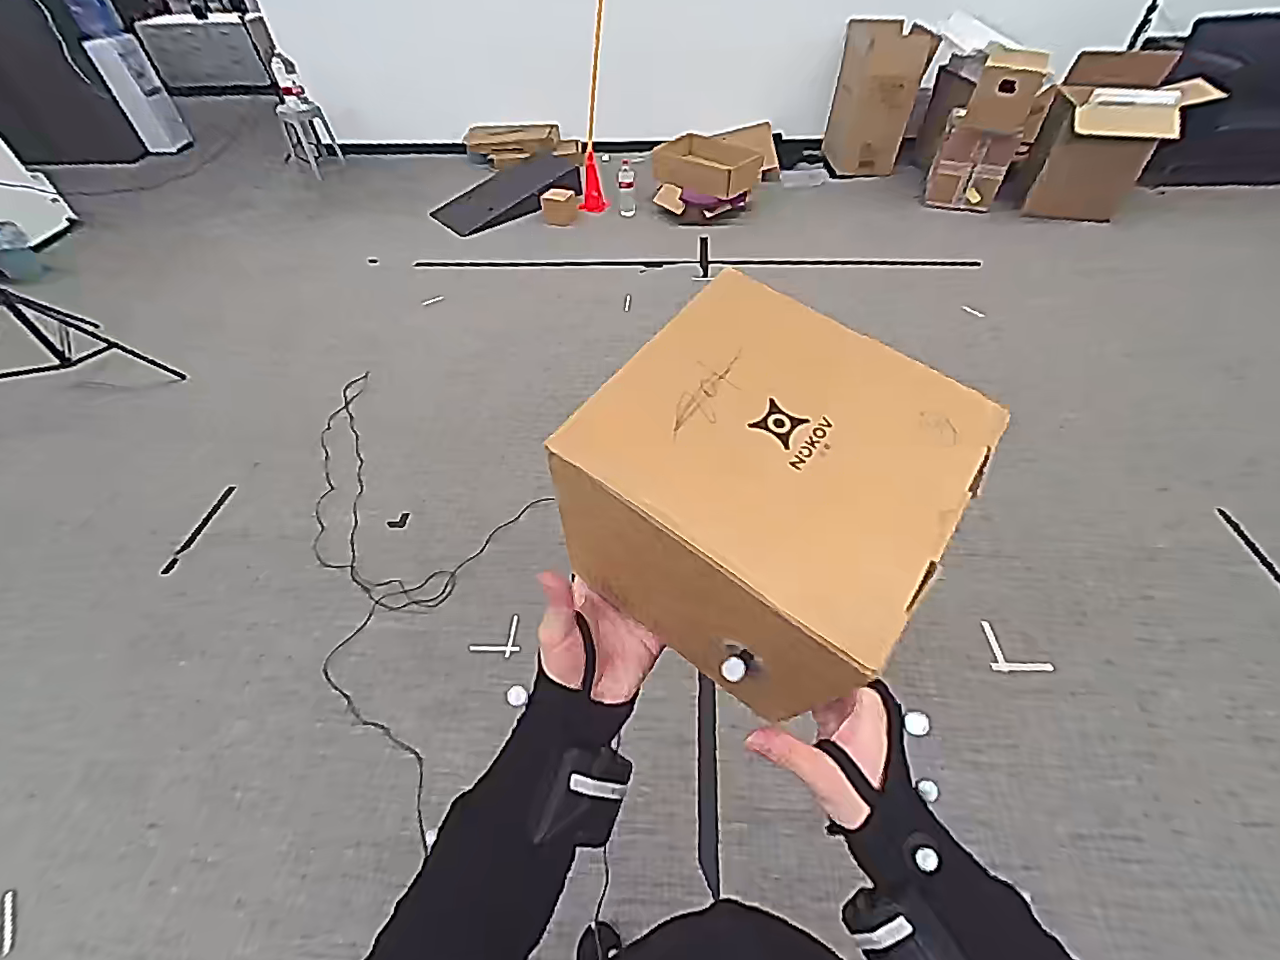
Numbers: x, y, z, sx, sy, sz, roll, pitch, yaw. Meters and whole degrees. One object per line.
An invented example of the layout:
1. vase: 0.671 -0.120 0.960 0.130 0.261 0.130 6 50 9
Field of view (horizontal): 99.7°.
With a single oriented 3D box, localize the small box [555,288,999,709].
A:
1. small box: 0.071 0.022 0.344 0.179 0.176 0.168 33 63 16
